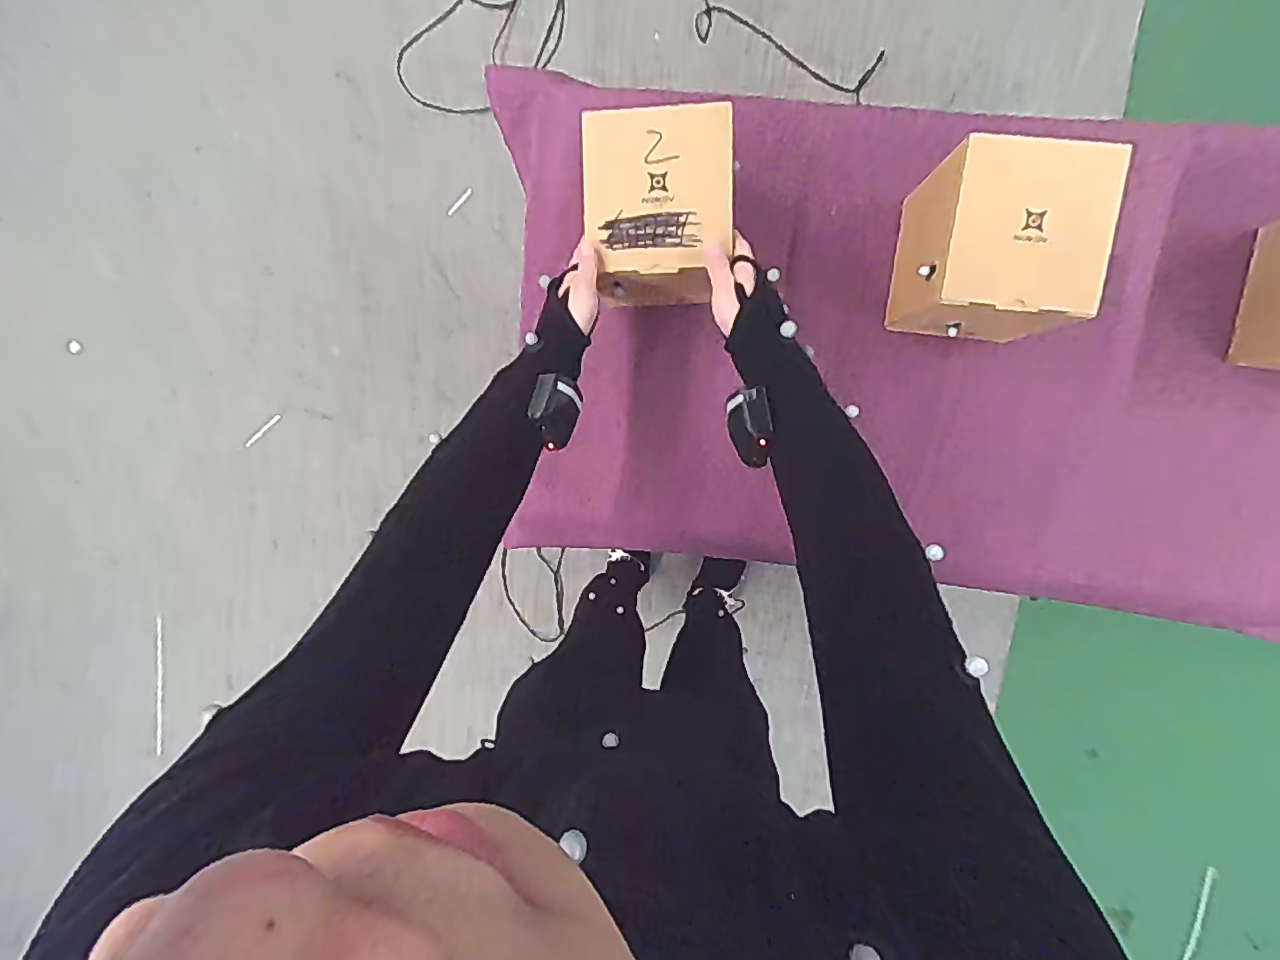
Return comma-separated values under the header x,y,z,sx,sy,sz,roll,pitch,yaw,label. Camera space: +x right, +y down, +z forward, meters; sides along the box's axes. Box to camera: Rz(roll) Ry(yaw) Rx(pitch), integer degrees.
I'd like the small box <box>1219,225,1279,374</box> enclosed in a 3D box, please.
x,y,z,sx,sy,sz,roll,pitch,yaw,label
0.853,-0.220,0.632,0.168,0.176,0.179,8,97,4,small box

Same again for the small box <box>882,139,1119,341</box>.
x,y,z,sx,sy,sz,roll,pitch,yaw,label
0.417,-0.276,0.659,0.168,0.176,0.179,7,98,3,small box
